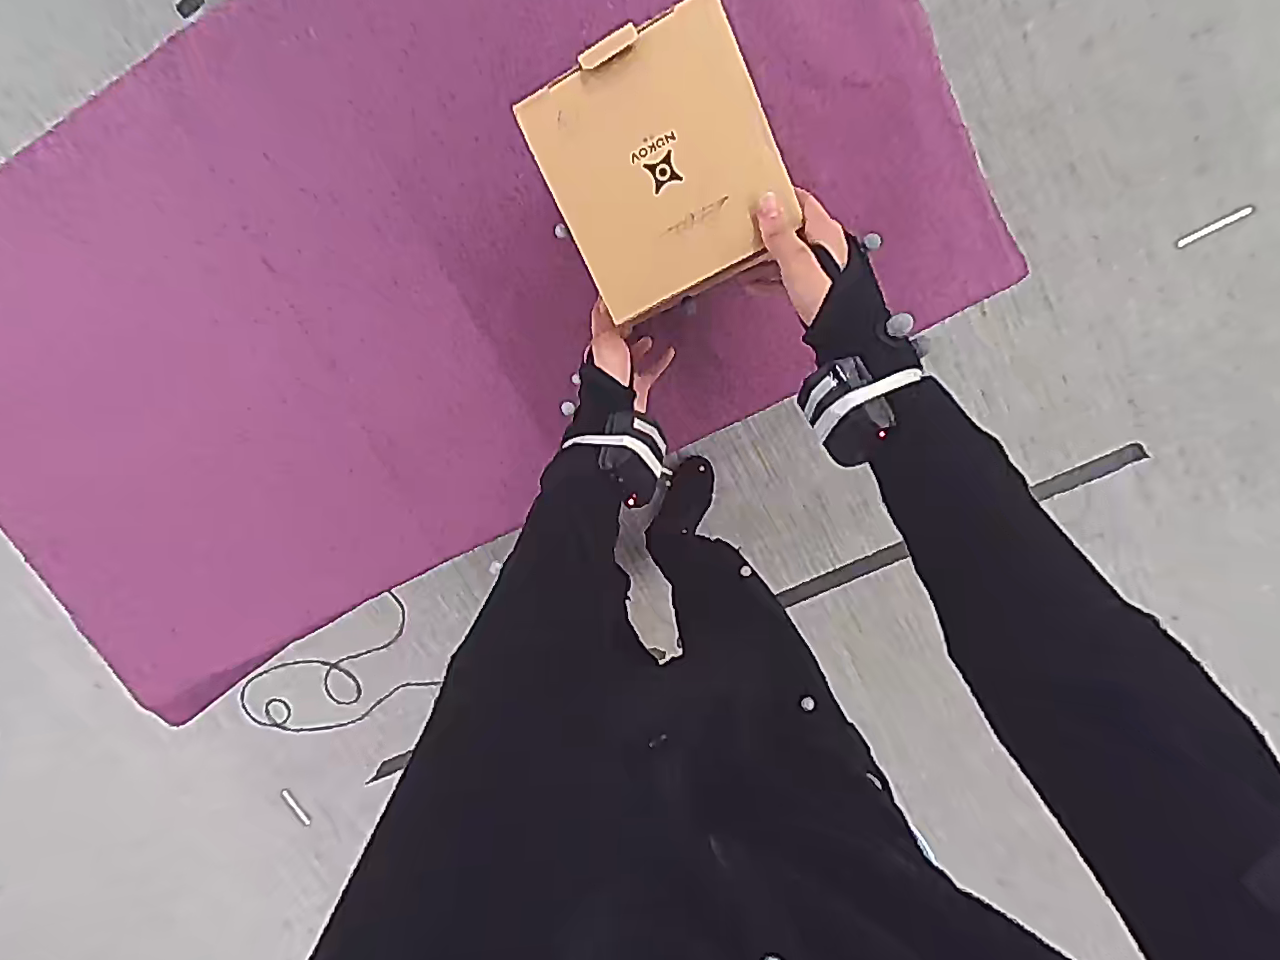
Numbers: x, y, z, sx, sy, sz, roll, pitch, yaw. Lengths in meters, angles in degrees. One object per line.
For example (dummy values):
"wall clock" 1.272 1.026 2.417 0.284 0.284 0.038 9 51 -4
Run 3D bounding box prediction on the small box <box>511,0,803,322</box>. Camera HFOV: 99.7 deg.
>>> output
"small box" 0.017 -0.253 0.473 0.168 0.176 0.179 -24 102 10
